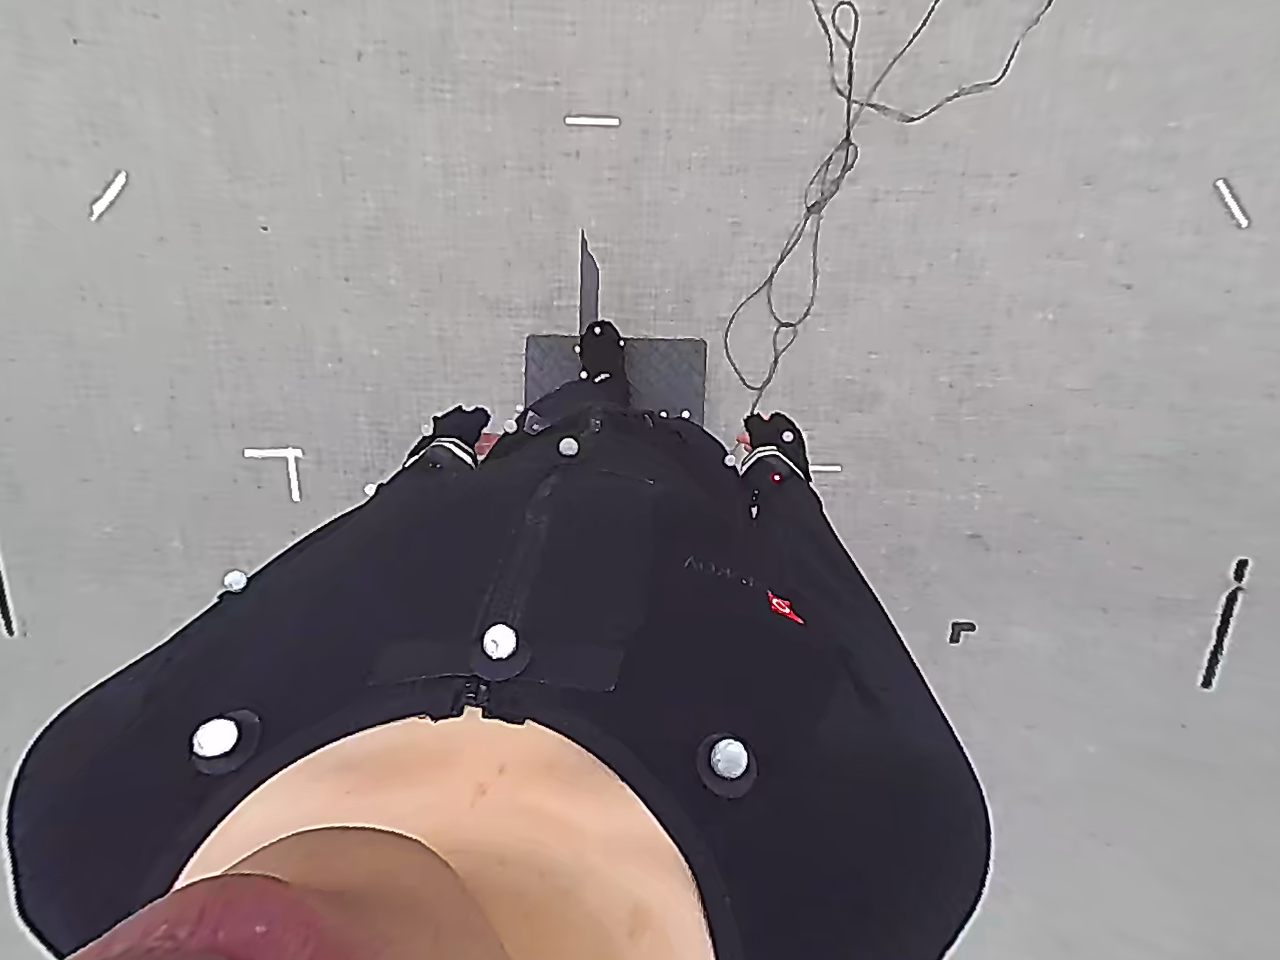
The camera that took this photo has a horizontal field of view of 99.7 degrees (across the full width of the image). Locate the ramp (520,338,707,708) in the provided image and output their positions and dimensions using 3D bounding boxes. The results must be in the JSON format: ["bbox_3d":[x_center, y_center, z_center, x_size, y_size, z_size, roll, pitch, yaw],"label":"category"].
[{"bbox_3d":[-0.077,0.115,1.478,0.509,0.206,0.991,0,101,4],"label":"ramp"}]
